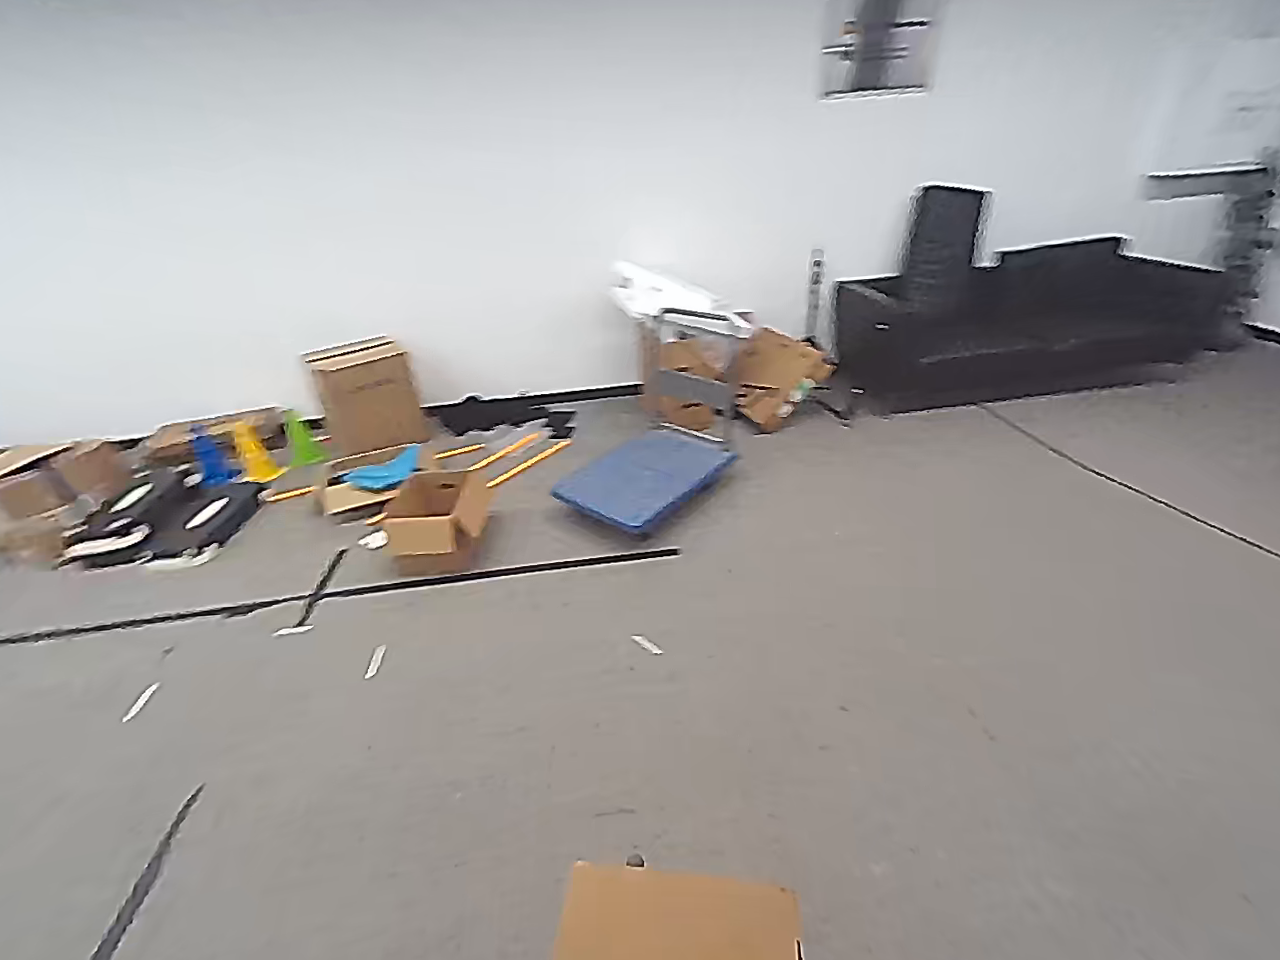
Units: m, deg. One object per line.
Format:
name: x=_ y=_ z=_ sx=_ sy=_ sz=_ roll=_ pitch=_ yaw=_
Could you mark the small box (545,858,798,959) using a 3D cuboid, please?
small box: x=0.026 y=0.407 z=0.399 sx=0.179 sy=0.176 sz=0.168 roll=0 pitch=42 yaw=9
